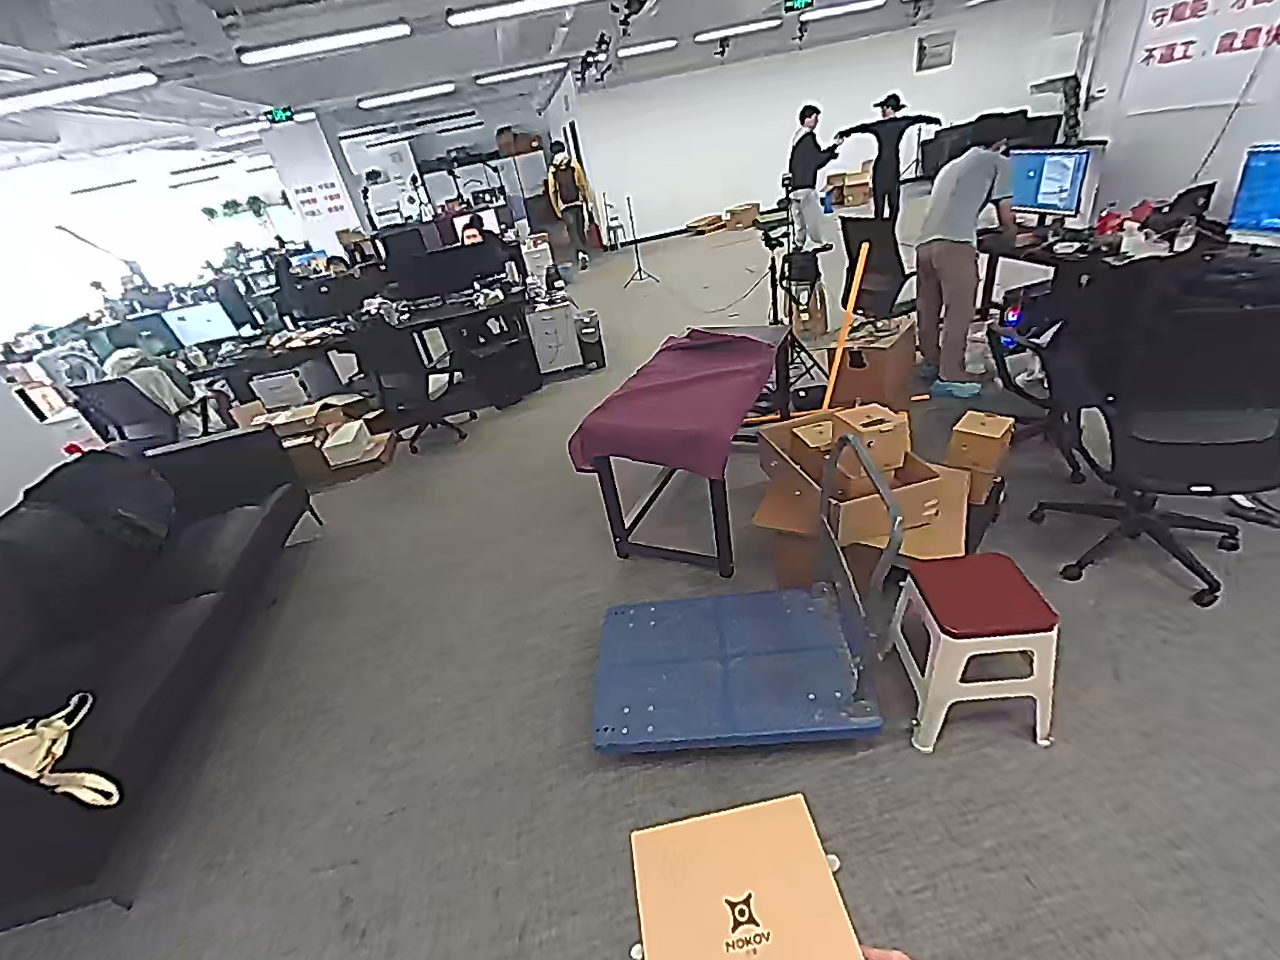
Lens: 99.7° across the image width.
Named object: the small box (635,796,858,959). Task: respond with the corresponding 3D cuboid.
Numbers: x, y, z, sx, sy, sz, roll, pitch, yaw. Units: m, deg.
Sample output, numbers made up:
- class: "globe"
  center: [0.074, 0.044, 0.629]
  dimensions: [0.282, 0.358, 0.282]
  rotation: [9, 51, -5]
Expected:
- class: "small box"
  center: [0.095, 0.426, 0.485]
  dimensions: [0.168, 0.176, 0.179]
  rotation: [-12, 35, 0]
